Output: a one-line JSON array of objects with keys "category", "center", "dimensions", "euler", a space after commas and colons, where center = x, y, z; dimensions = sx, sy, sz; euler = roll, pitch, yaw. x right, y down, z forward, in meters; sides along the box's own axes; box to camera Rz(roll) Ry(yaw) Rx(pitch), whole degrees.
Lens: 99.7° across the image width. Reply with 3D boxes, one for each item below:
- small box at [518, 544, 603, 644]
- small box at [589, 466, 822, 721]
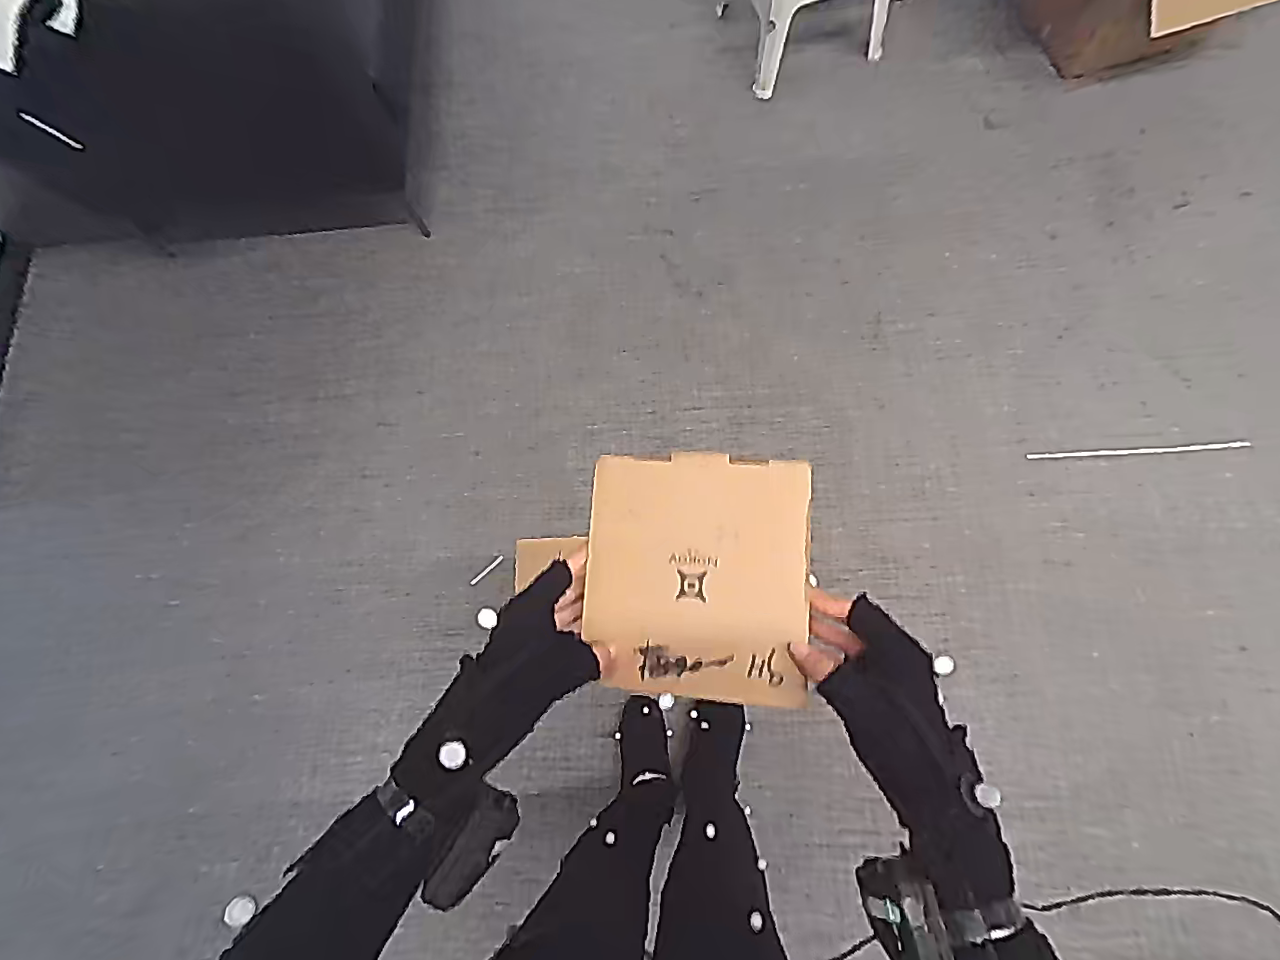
[{"category": "small box", "center": [-0.131, 0.223, 1.052], "dimensions": [0.168, 0.176, 0.179], "euler": [-3, 75, 5]}, {"category": "small box", "center": [0.063, 0.092, 0.480], "dimensions": [0.168, 0.176, 0.179], "euler": [2, 81, 12]}]
